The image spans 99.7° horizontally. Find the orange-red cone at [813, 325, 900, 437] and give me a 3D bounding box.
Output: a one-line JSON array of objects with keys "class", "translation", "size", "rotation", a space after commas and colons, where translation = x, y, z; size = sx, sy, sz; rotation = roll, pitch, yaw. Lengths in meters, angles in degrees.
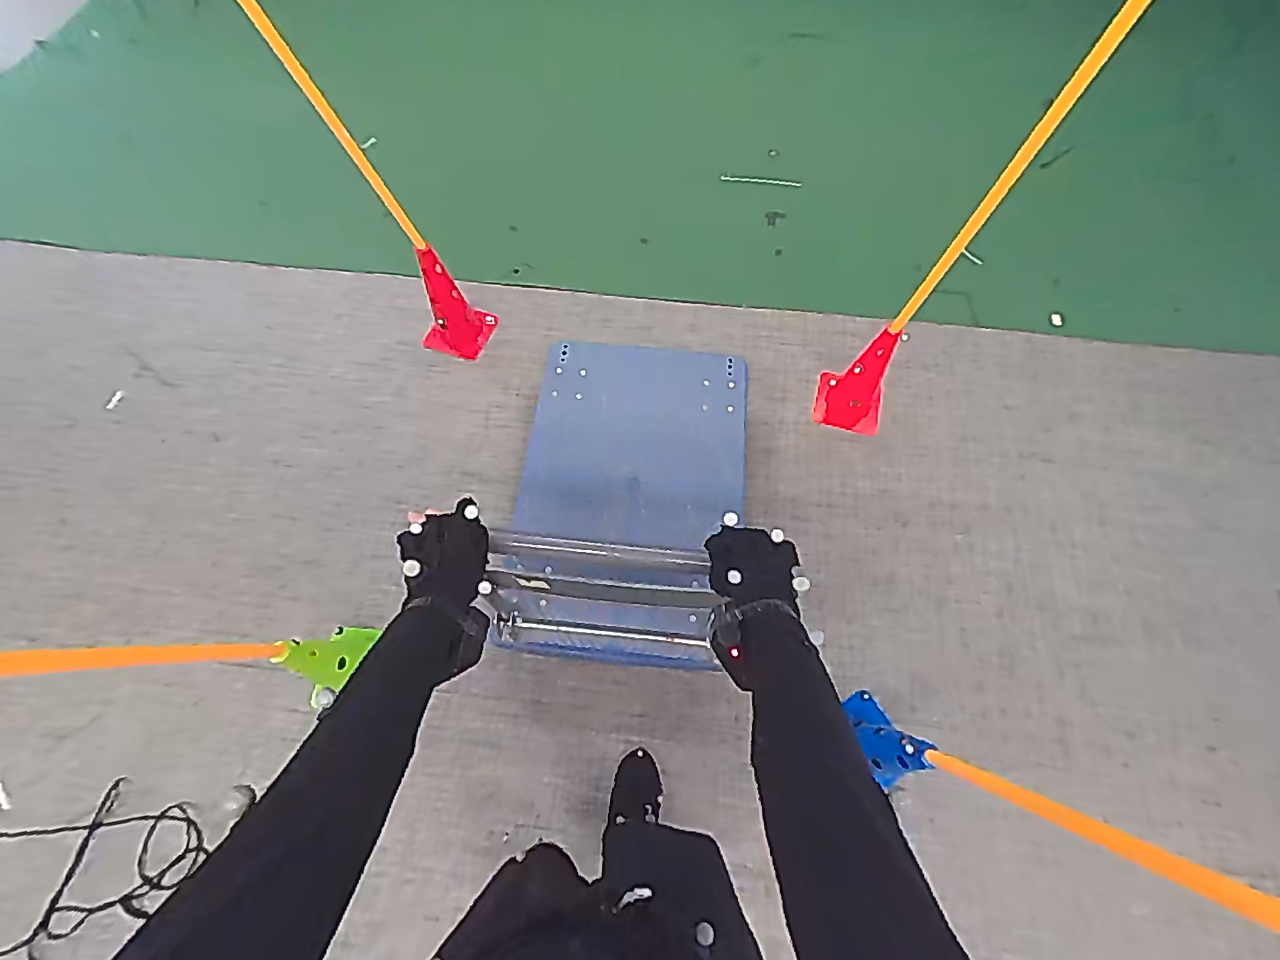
[{"class": "orange-red cone", "translation": [0.650, -0.307, 1.539], "size": [0.198, 0.360, 0.199], "rotation": [16, 67, 8]}]
